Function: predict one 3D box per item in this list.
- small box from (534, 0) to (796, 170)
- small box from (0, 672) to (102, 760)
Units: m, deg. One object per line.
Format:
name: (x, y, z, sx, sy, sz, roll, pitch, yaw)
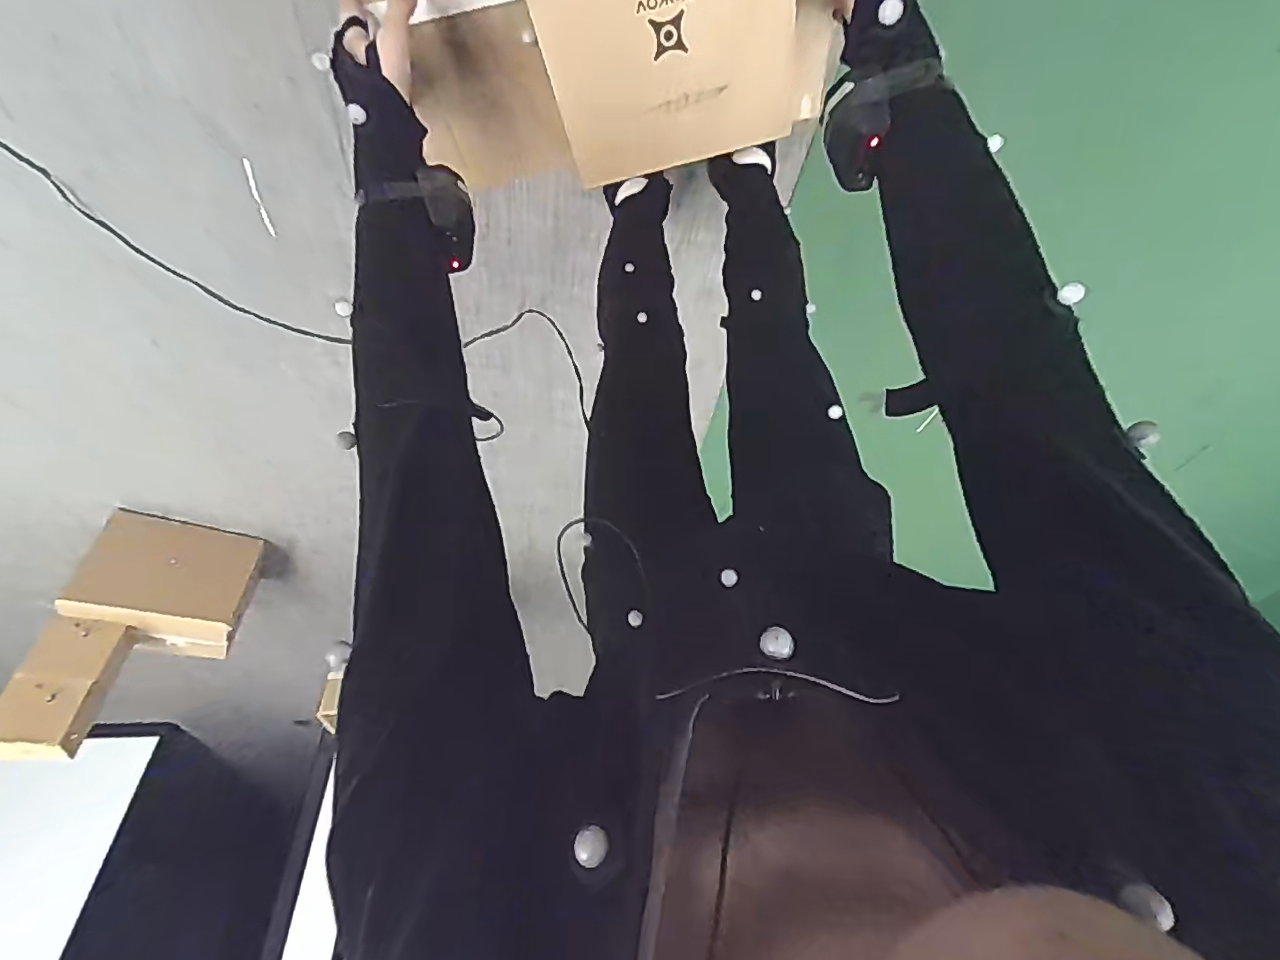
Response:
small box: (0.009, -0.367, 0.383, 0.168, 0.176, 0.179, -11, 148, 7)
small box: (-1.590, 0.631, 1.441, 0.168, 0.176, 0.179, 16, 136, -24)
